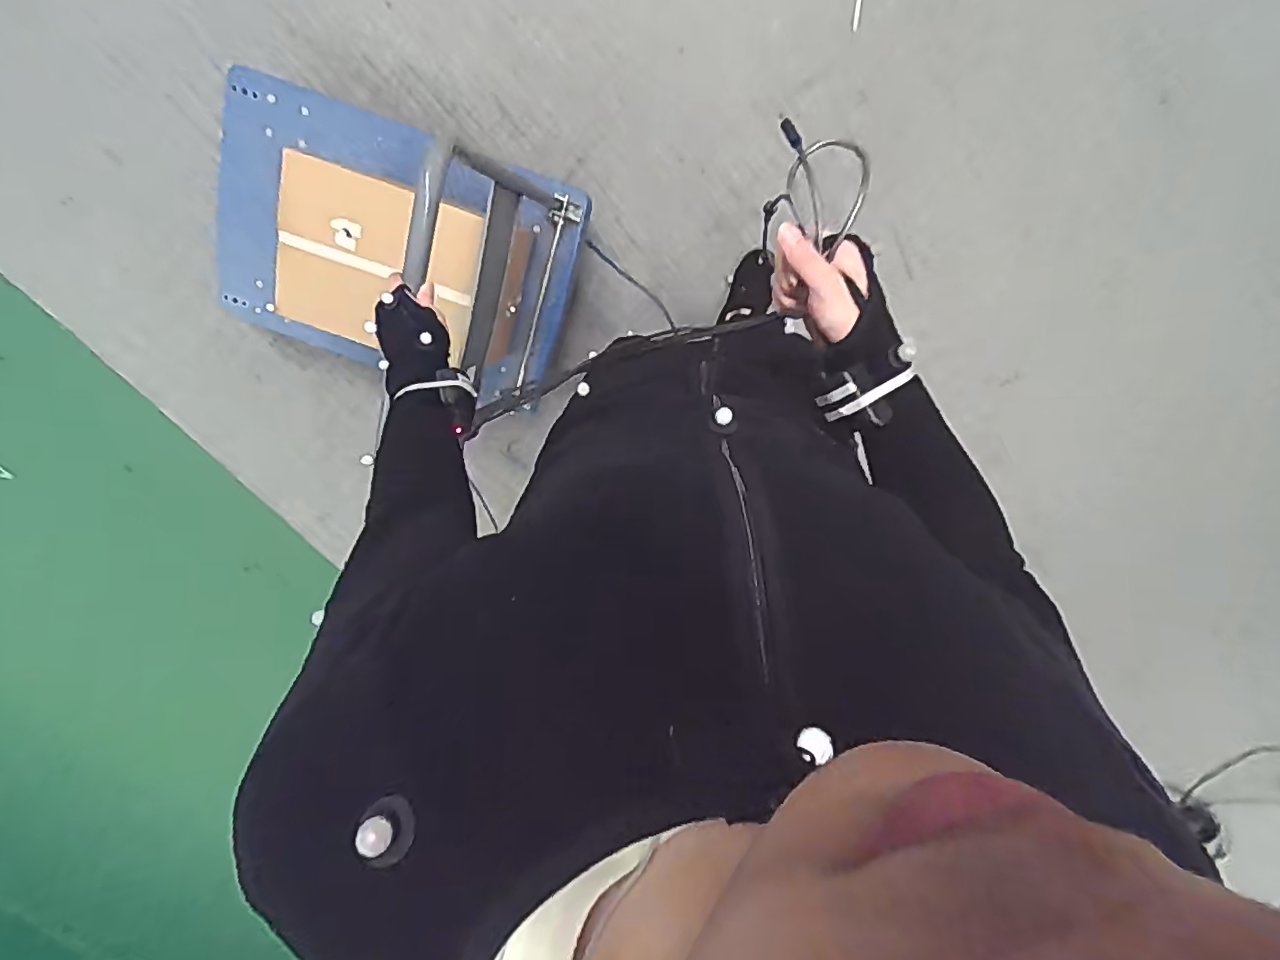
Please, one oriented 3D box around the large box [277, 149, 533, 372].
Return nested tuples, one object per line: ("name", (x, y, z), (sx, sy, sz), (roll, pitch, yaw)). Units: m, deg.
("large box", (-0.493, -0.470, 1.189), (0.408, 0.320, 0.320), (20, 112, -1))
